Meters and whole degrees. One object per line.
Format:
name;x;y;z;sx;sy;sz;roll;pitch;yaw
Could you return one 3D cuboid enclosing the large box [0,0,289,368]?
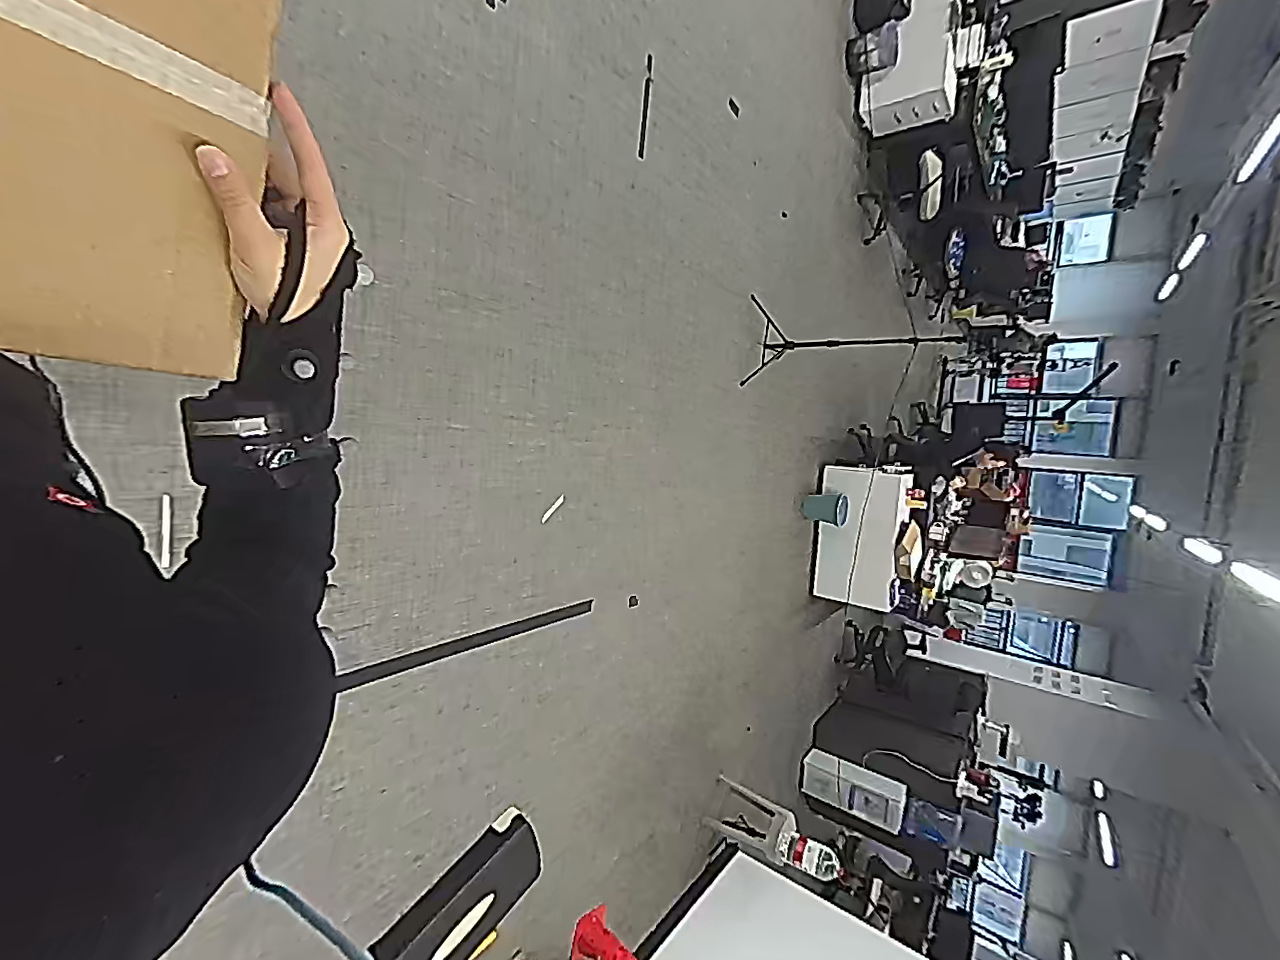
large box;-0.459;-0.259;0.259;0.408;0.320;0.320;1;106;-54
